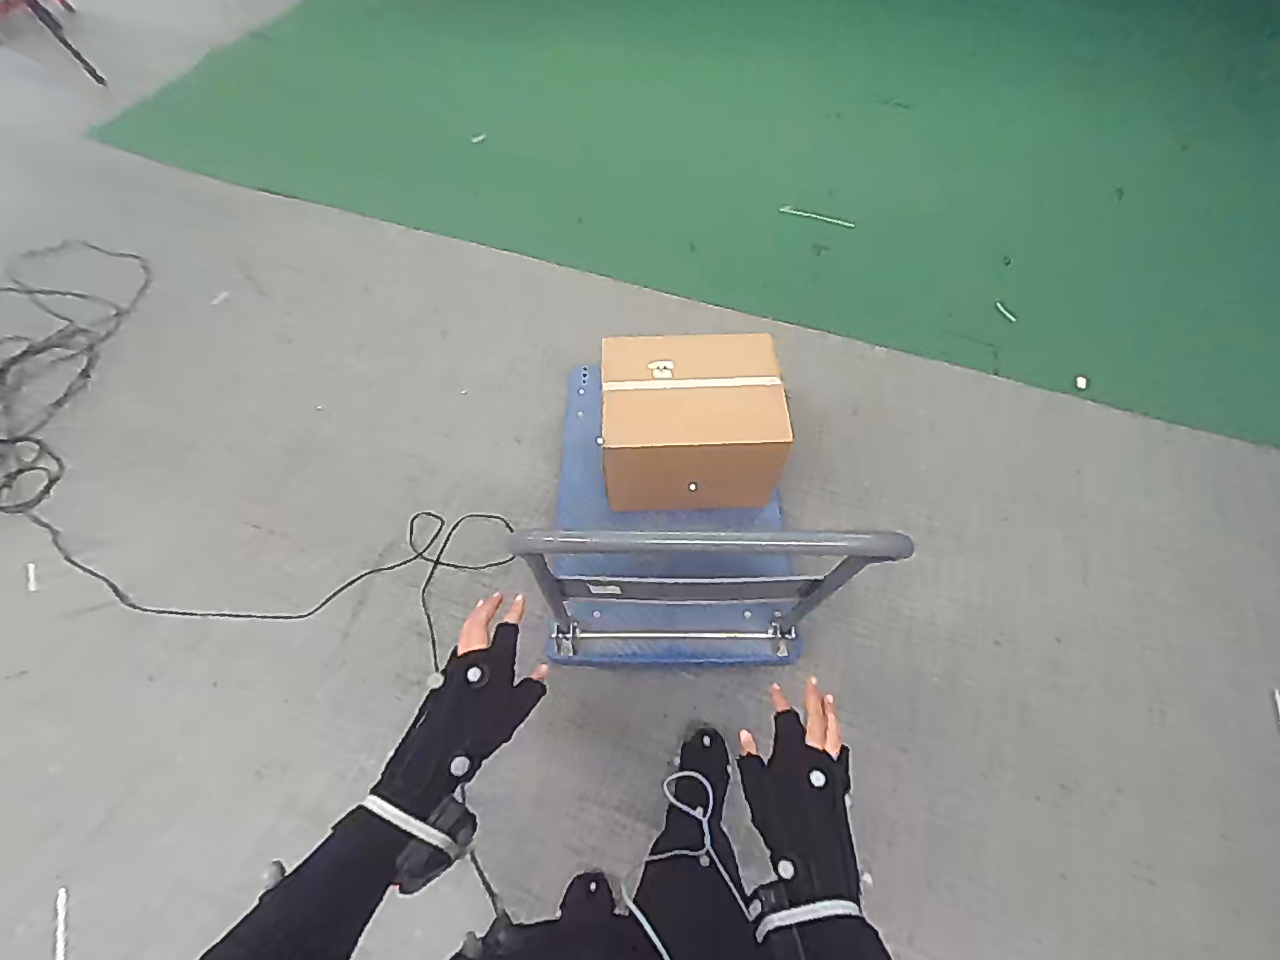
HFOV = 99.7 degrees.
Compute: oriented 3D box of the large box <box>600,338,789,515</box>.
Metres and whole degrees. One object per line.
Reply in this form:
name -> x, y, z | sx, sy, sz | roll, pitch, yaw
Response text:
large box -> 0.116, -0.124, 1.349 | 0.408, 0.320, 0.320 | -3, 59, -1
